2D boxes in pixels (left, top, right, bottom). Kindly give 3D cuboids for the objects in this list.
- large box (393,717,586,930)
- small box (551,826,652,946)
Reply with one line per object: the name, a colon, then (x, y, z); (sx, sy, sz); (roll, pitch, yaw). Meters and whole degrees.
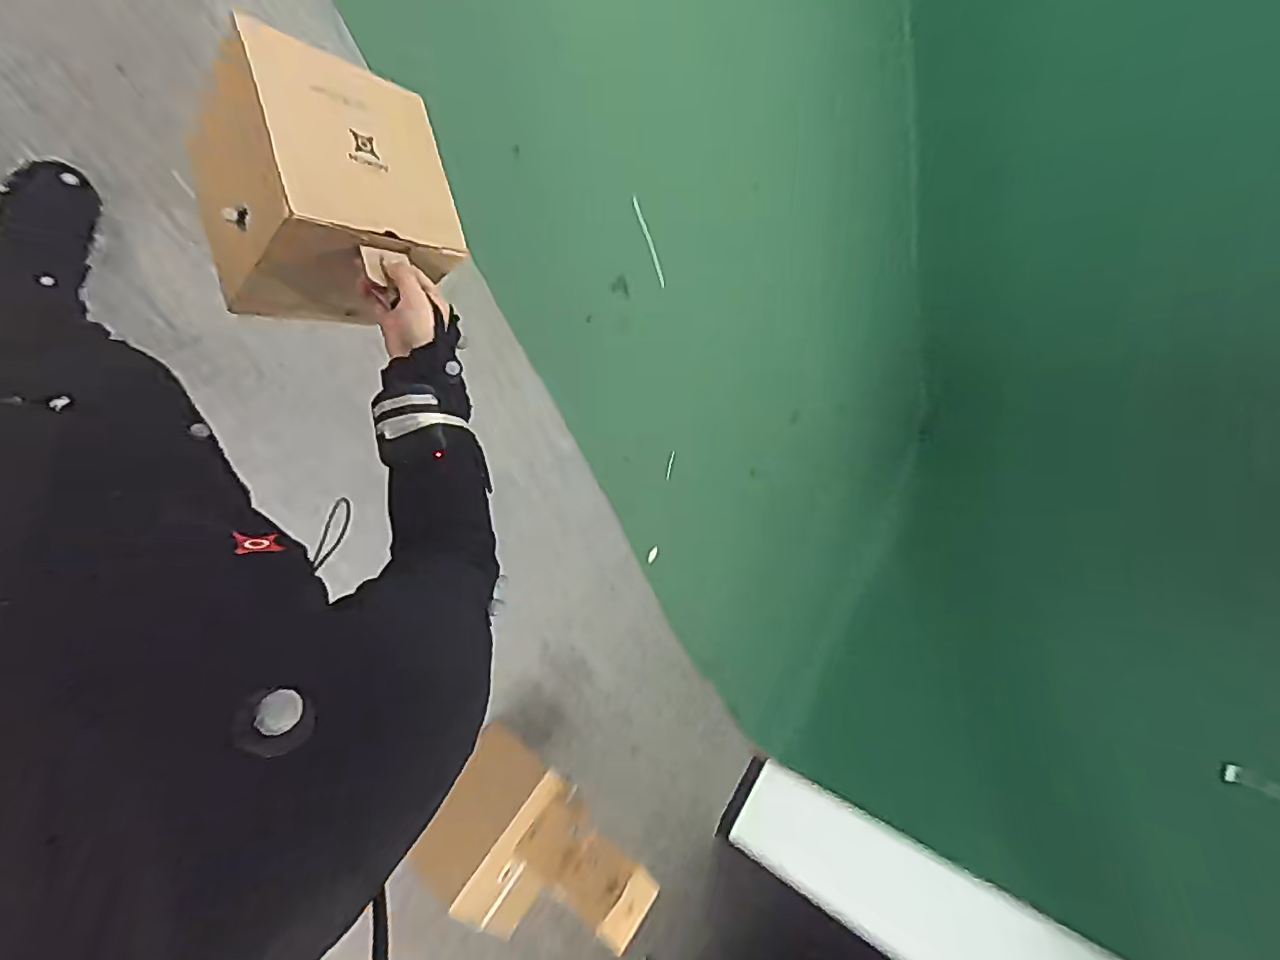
large box: (-0.447, 1.025, 1.650); (0.408, 0.320, 0.320); (-48, 131, -27)
small box: (-0.101, 1.061, 1.425); (0.168, 0.176, 0.179); (-44, 130, -31)
